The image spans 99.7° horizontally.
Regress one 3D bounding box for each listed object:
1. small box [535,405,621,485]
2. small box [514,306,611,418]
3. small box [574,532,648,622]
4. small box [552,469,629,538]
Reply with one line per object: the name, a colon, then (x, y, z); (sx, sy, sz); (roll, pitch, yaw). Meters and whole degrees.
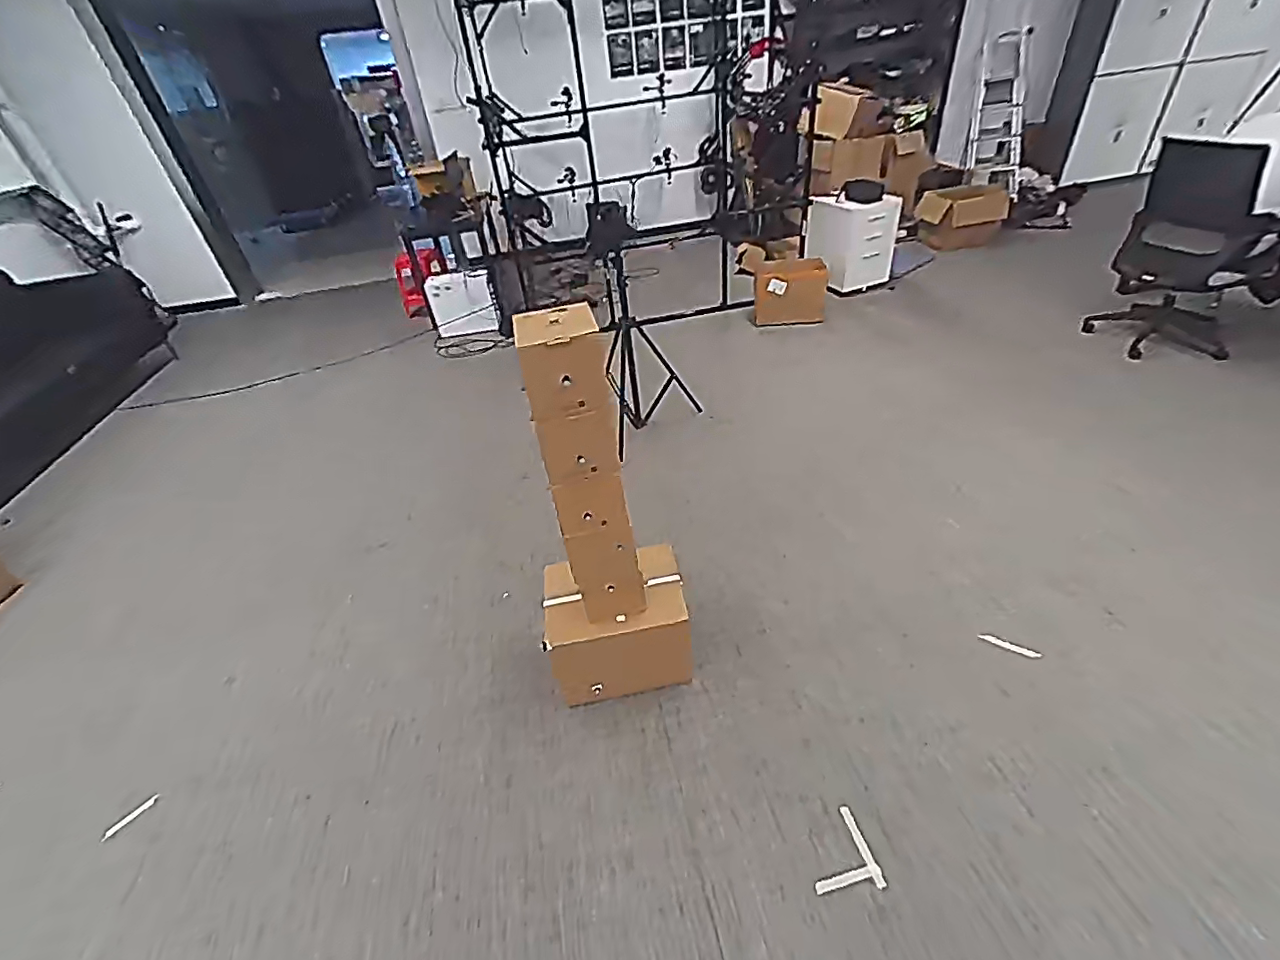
small box: (-0.145, -0.114, 1.242); (0.168, 0.176, 0.179); (-13, 39, -5)
small box: (-0.163, -0.245, 1.145); (0.168, 0.176, 0.179); (-12, 39, -6)
small box: (-0.082, 0.277, 1.532); (0.179, 0.176, 0.168); (-11, 39, -6)
small box: (-0.127, 0.017, 1.340); (0.168, 0.176, 0.179); (-11, 39, -5)
